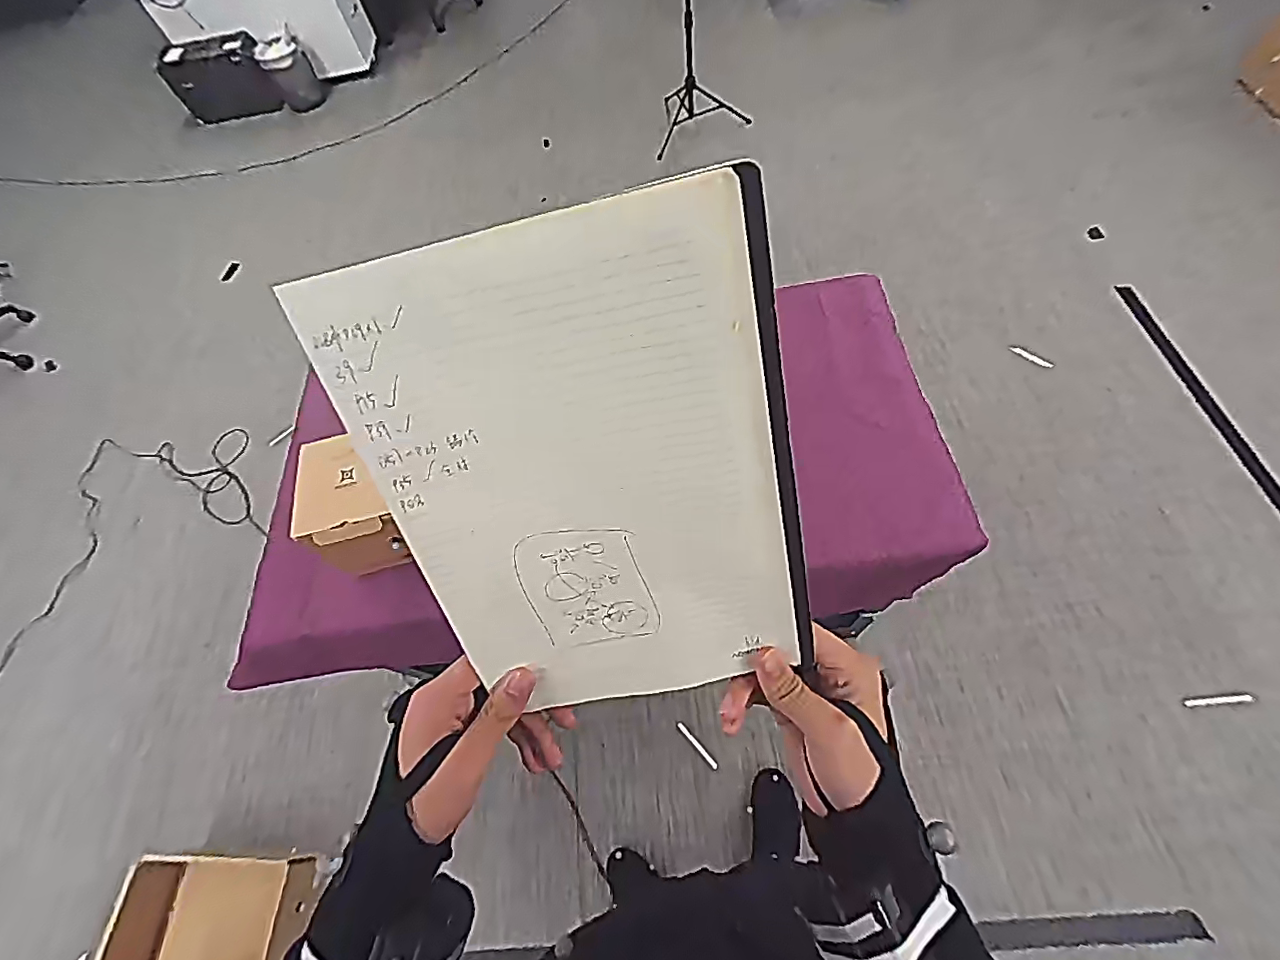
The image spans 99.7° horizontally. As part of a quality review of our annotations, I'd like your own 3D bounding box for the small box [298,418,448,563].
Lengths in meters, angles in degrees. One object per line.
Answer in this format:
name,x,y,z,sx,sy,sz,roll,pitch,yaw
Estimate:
small box,-0.436,0.028,0.909,0.168,0.176,0.179,-14,61,0
